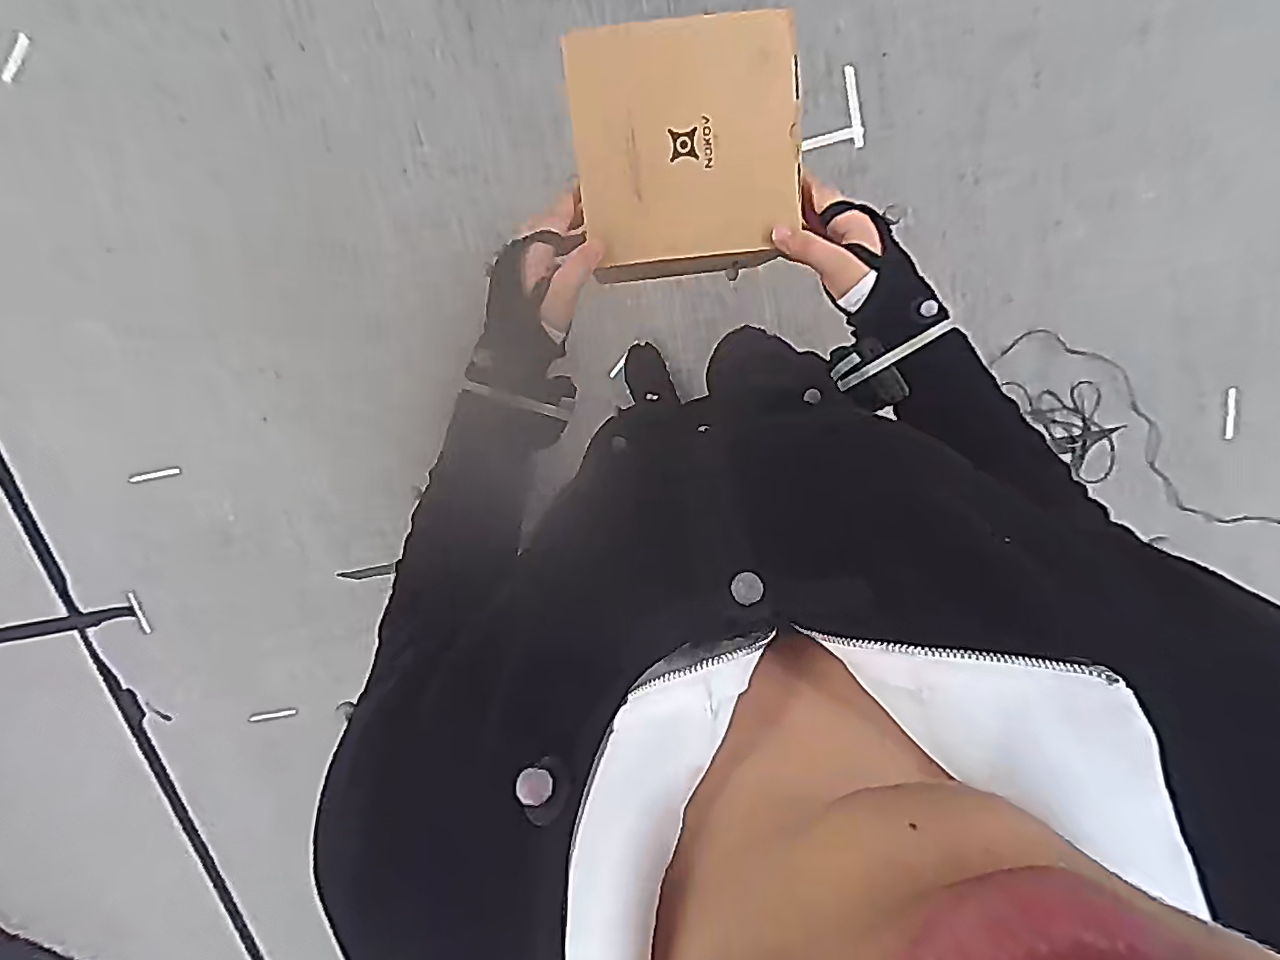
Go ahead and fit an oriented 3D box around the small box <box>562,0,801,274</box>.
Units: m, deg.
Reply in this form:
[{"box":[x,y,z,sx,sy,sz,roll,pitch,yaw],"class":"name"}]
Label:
[{"box":[0.033,-0.290,0.494,0.179,0.176,0.168,-7,105,0],"class":"small box"}]
